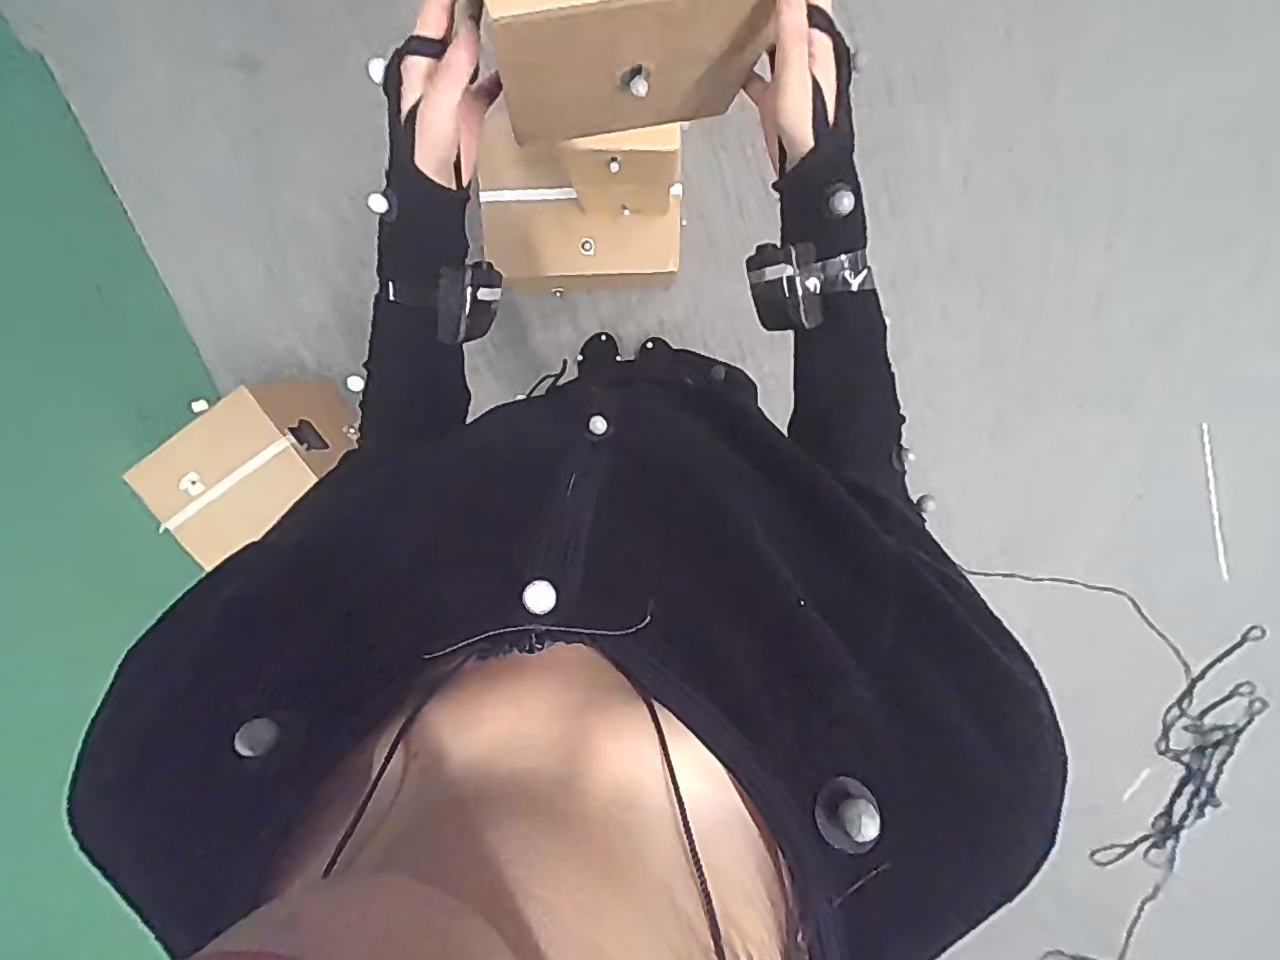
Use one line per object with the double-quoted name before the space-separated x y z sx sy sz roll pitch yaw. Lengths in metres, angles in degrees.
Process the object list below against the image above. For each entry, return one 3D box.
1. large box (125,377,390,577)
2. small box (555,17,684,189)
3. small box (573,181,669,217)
"large box" -0.957 -0.024 1.405 0.408 0.320 0.320 -31 100 10
"small box" -0.028 -0.557 0.820 0.179 0.176 0.168 2 102 2
"small box" -0.030 -0.593 0.979 0.168 0.176 0.179 1 102 2
